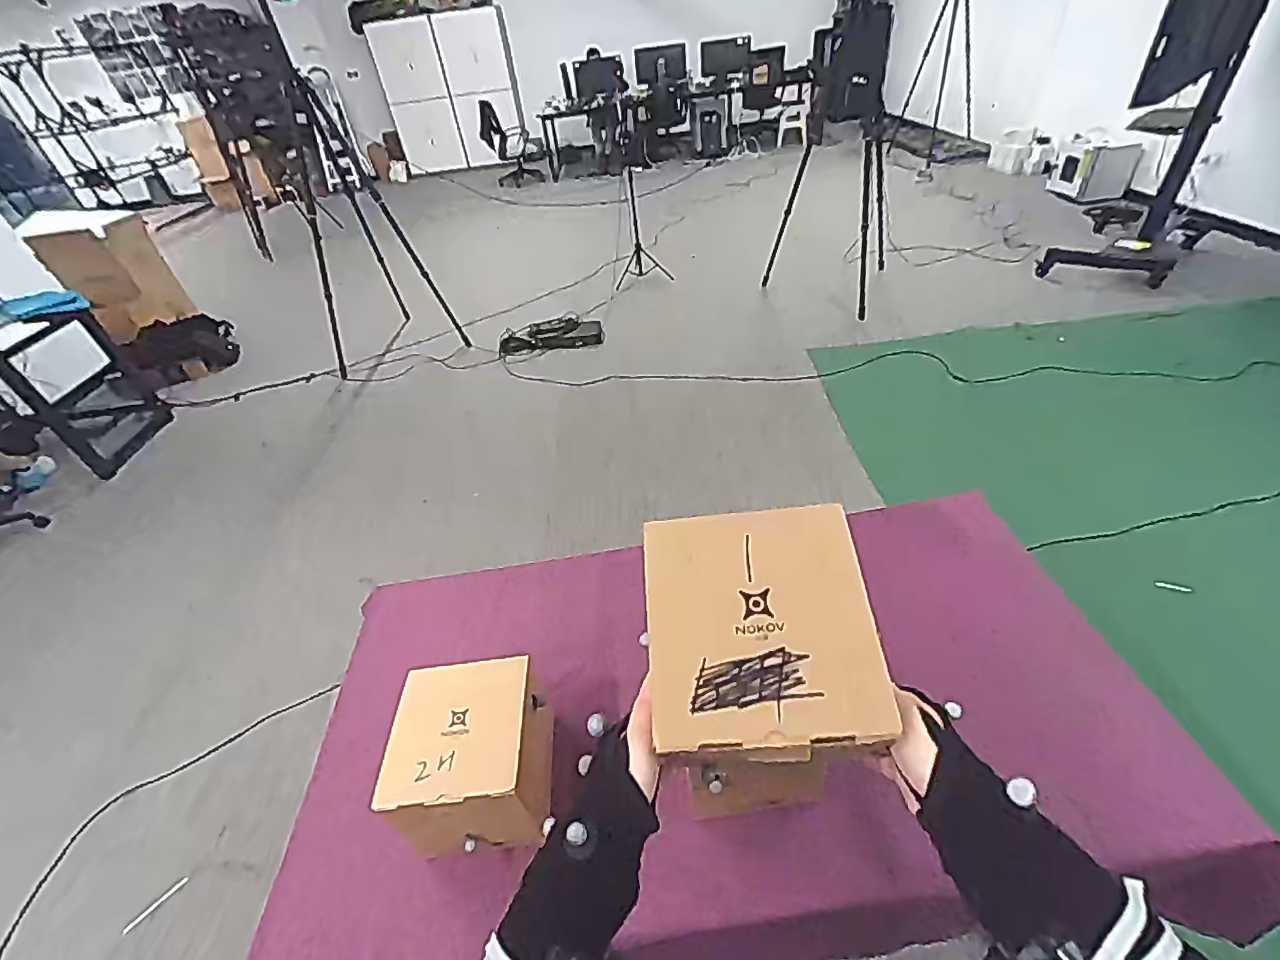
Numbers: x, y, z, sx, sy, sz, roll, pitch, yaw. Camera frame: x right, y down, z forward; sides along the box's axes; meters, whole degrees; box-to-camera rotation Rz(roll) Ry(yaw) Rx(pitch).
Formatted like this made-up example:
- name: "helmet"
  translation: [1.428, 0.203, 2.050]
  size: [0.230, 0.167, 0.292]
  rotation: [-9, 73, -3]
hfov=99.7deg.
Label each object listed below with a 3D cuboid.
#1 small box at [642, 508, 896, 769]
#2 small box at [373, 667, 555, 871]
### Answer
- name: "small box"
  translation: [0.097, 0.147, 0.470]
  size: [0.168, 0.176, 0.179]
  rotation: [-6, 56, 5]
- name: "small box"
  translation: [-0.212, 0.376, 0.707]
  size: [0.168, 0.176, 0.179]
  rotation: [-8, 39, 1]
